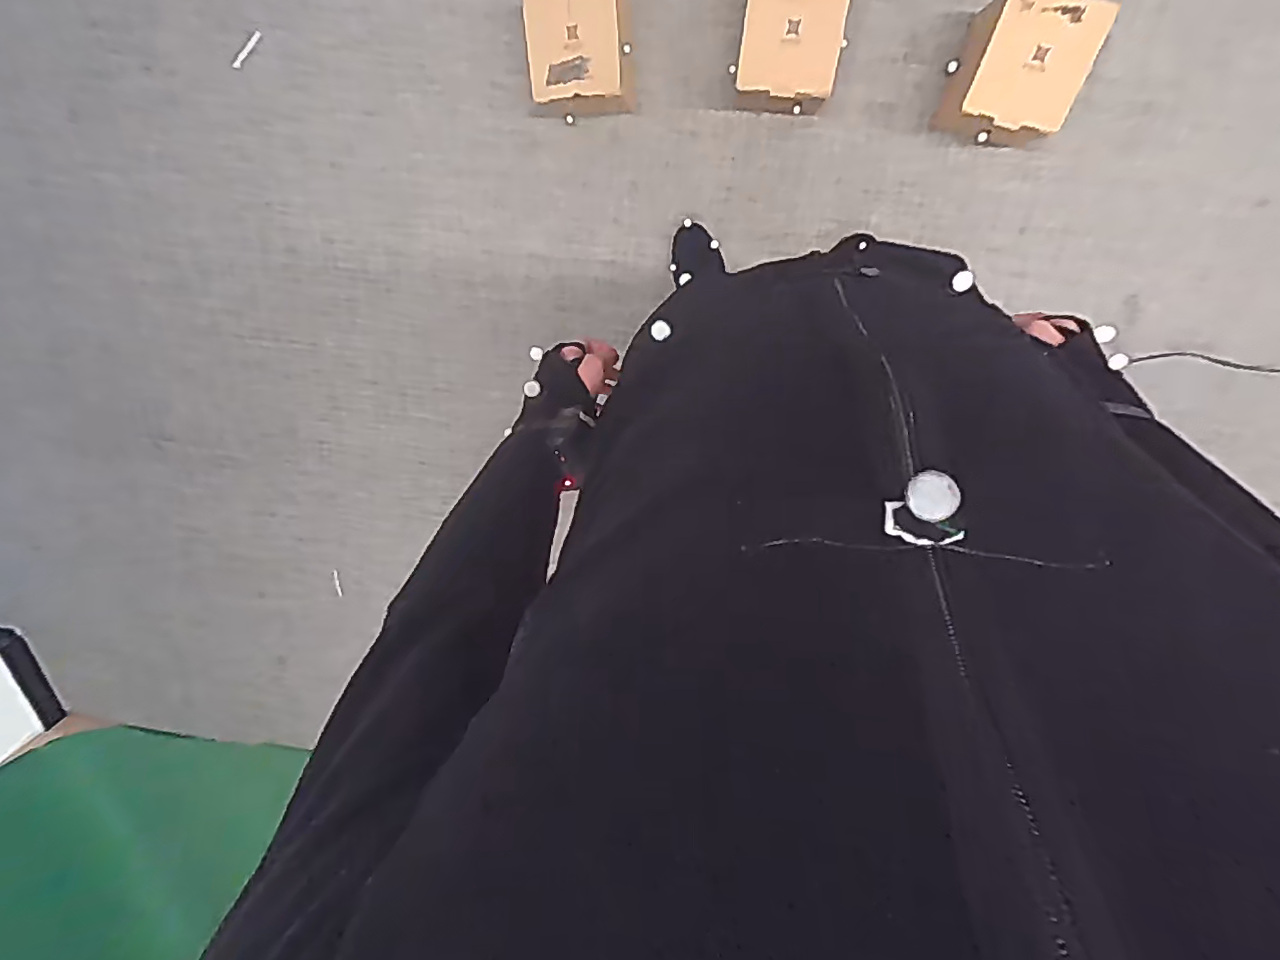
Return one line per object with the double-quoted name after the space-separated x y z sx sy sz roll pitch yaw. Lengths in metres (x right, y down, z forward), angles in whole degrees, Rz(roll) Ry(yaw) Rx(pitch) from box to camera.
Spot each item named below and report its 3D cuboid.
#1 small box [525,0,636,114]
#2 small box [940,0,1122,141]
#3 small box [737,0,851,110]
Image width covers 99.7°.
-0.102 -0.799 1.008 0.168 0.176 0.179 1 115 9 "small box"
0.648 -0.705 0.929 0.168 0.176 0.179 16 118 2 "small box"
0.266 -0.777 0.961 0.168 0.176 0.179 7 115 5 "small box"
